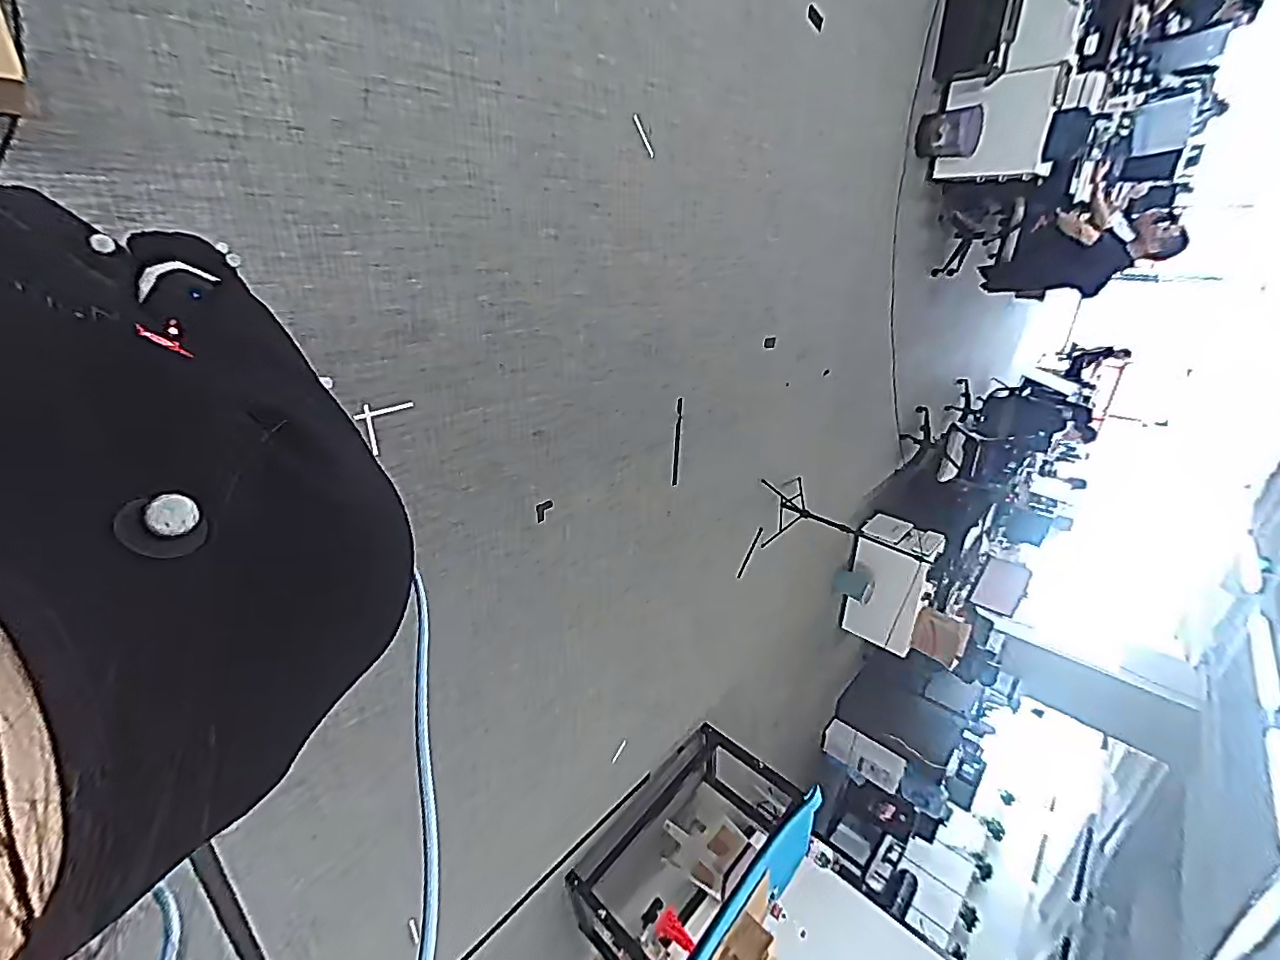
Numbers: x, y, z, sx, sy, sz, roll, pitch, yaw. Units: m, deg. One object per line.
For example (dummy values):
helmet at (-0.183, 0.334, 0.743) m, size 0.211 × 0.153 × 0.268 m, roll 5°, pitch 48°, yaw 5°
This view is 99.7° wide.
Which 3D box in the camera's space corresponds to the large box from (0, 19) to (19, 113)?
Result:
large box at (-0.998, -0.612, 0.558) m, size 0.408 × 0.320 × 0.320 m, roll -22°, pitch 123°, yaw -43°
